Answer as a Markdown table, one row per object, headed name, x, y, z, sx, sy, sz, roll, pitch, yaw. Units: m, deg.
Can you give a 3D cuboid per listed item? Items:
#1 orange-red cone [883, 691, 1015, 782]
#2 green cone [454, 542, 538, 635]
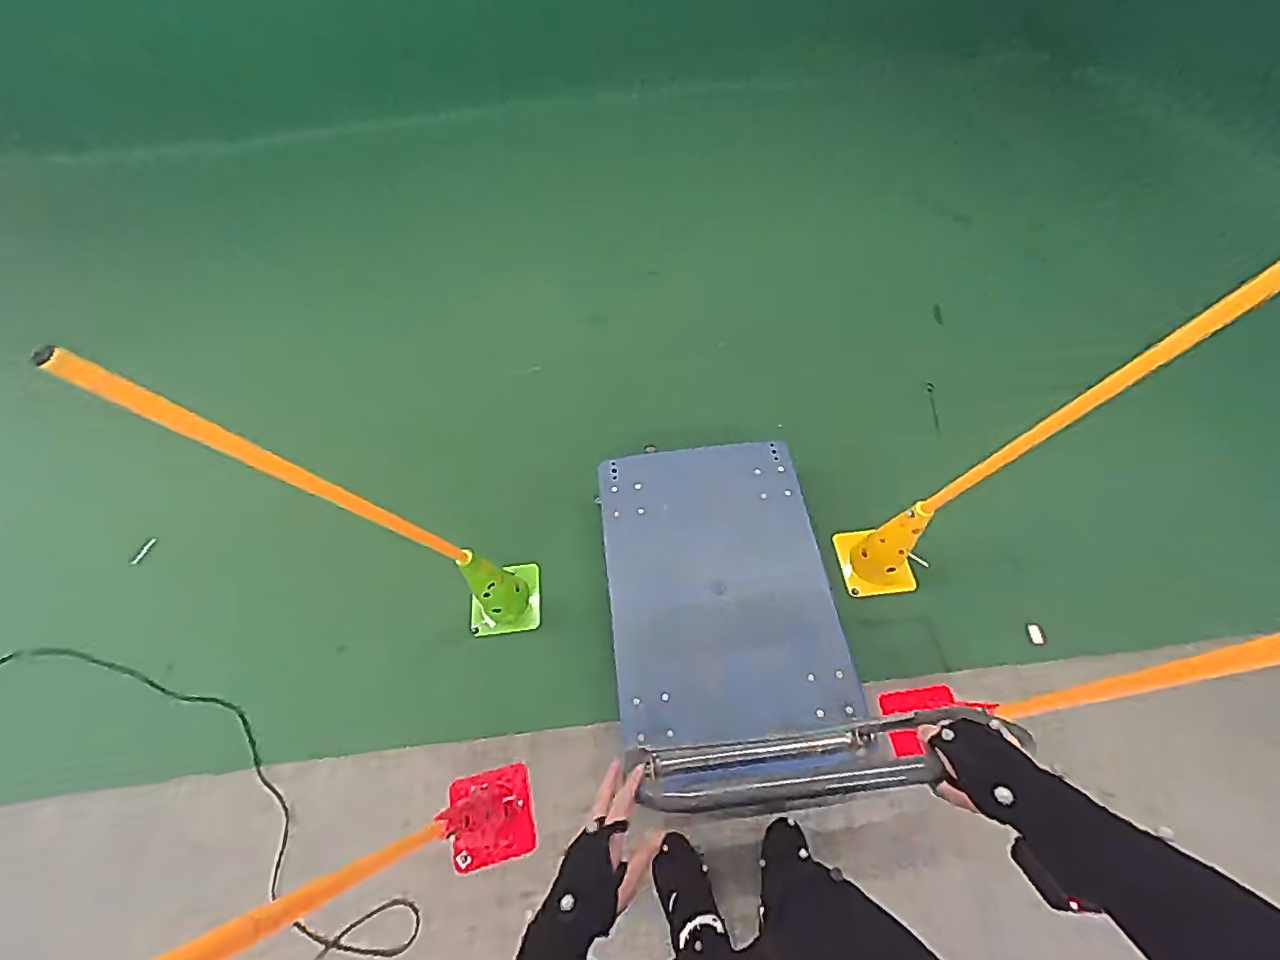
| name | x | y | z | sx | sy | sz | roll | pitch | yaw |
| --- | --- | --- | --- | --- | --- | --- | --- | --- | --- |
| orange-red cone | 0.725 | 0.554 | 1.214 | 0.198 | 0.360 | 0.199 | -6 | 59 | -2 |
| green cone | -0.408 | 0.259 | 1.431 | 0.200 | 0.368 | 0.202 | -7 | 59 | 0 |
